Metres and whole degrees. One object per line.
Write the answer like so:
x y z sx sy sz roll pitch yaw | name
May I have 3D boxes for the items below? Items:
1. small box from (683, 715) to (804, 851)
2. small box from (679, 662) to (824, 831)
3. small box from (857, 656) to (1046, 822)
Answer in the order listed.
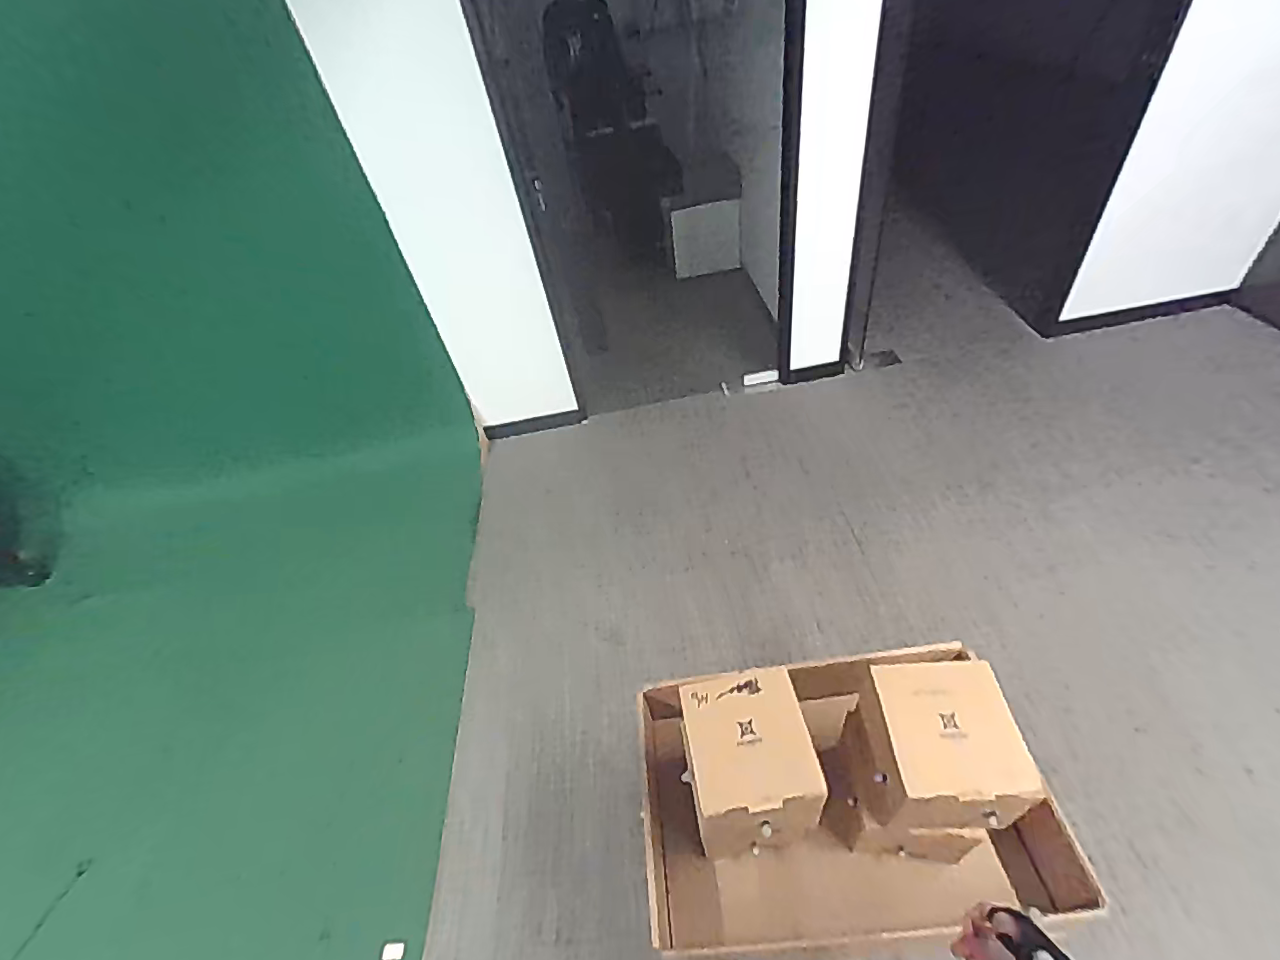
0.172 0.503 0.923 0.168 0.176 0.179 -11 45 1 | small box
0.157 0.398 0.797 0.168 0.176 0.179 -10 45 1 | small box
0.423 0.372 0.771 0.168 0.176 0.179 -4 45 7 | small box
